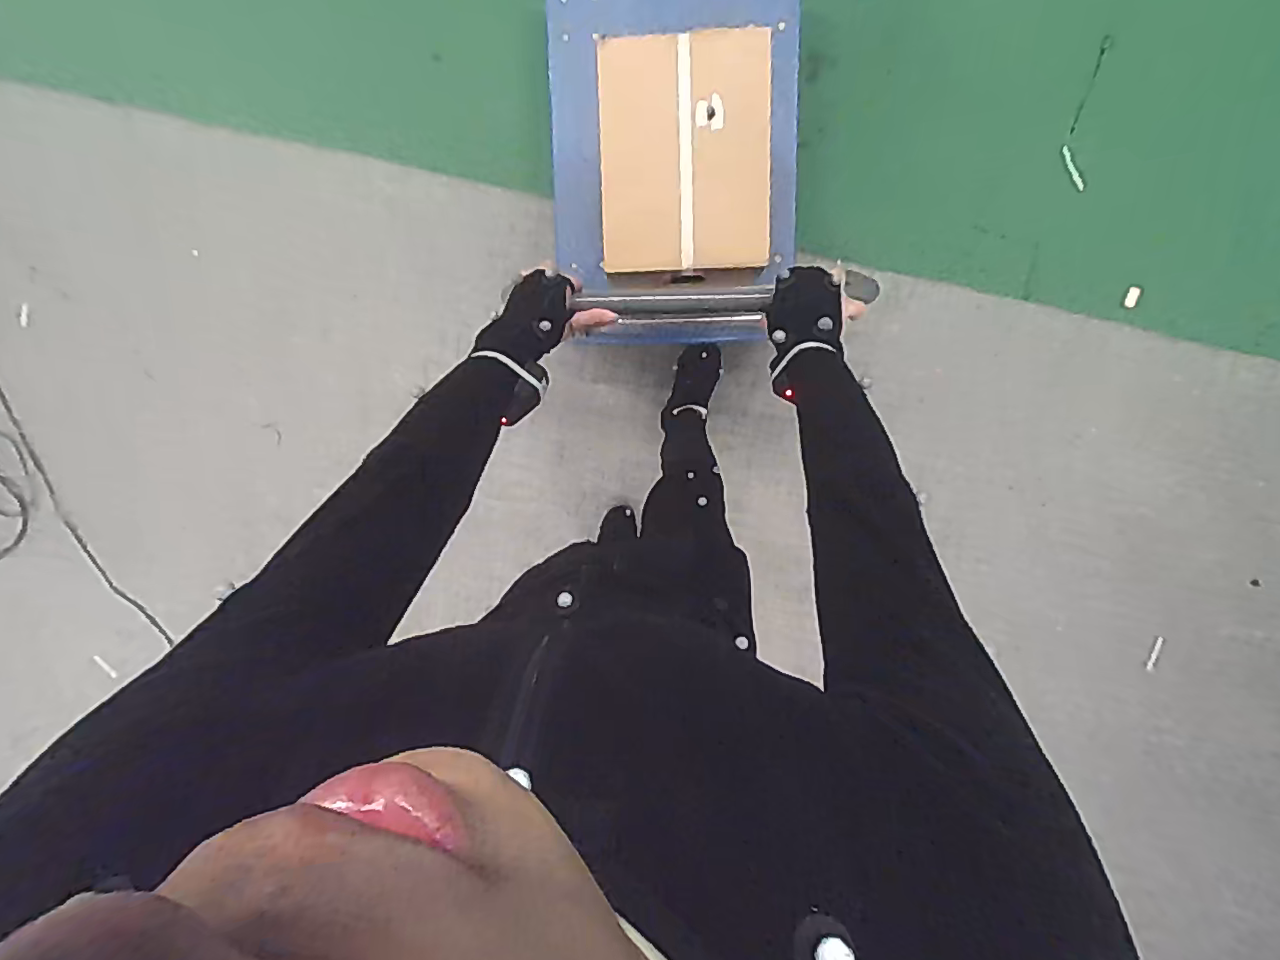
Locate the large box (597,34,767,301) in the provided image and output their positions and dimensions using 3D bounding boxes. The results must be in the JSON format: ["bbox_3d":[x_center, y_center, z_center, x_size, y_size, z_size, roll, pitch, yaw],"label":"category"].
[{"bbox_3d":[0.089,-0.622,1.153,0.320,0.320,0.408,-1,98,3],"label":"large box"}]
